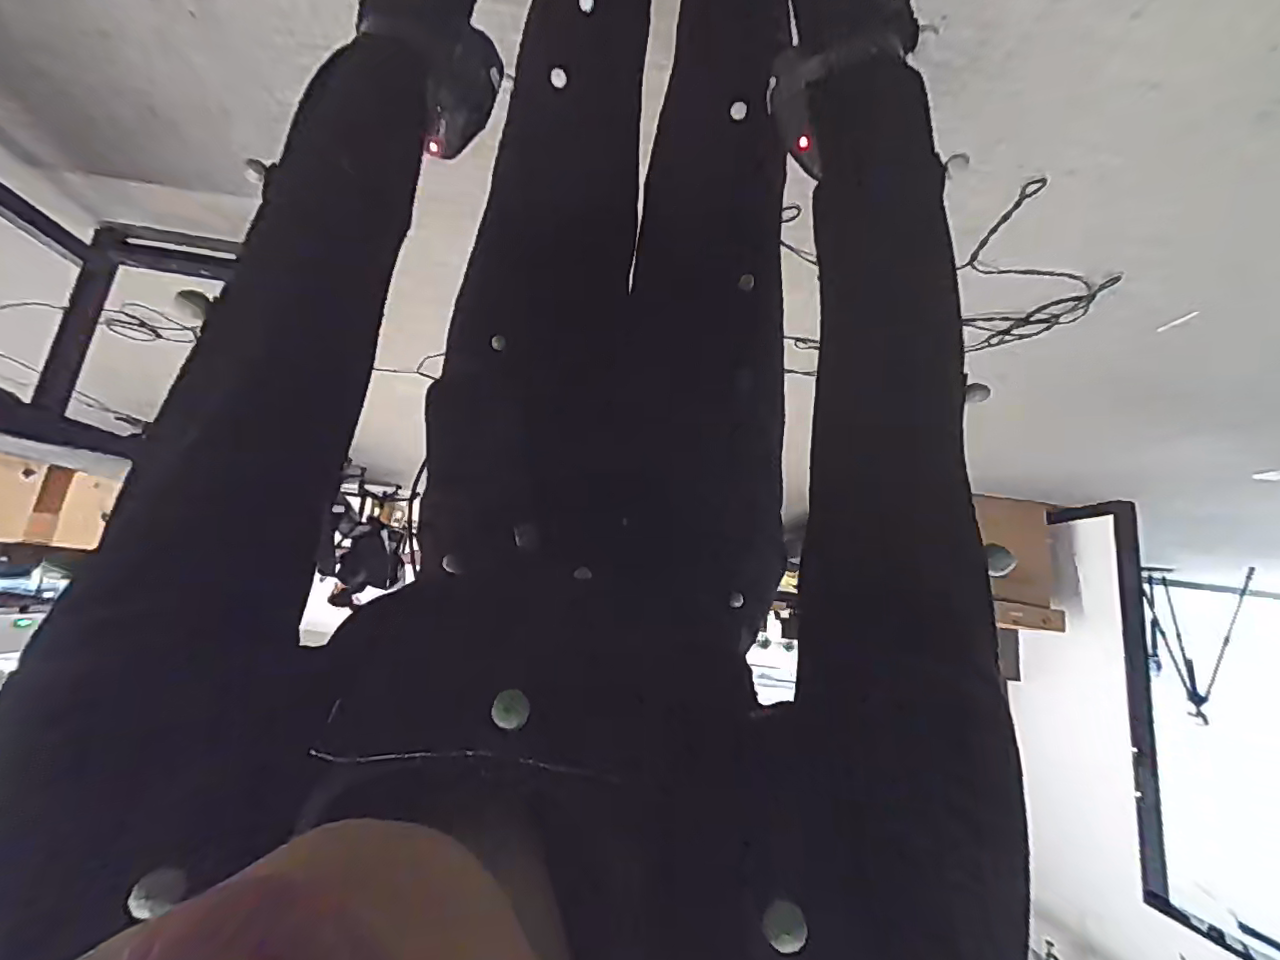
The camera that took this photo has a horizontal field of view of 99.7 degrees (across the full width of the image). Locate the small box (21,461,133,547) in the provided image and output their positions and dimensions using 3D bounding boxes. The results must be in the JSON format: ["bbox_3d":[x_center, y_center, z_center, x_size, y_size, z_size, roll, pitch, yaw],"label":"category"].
[{"bbox_3d":[-1.315,0.054,1.229,0.179,0.176,0.168,8,168,-3],"label":"small box"}]

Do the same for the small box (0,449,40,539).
[{"bbox_3d":[-1.297,0.011,1.010,0.179,0.176,0.168,8,168,-3],"label":"small box"}]
